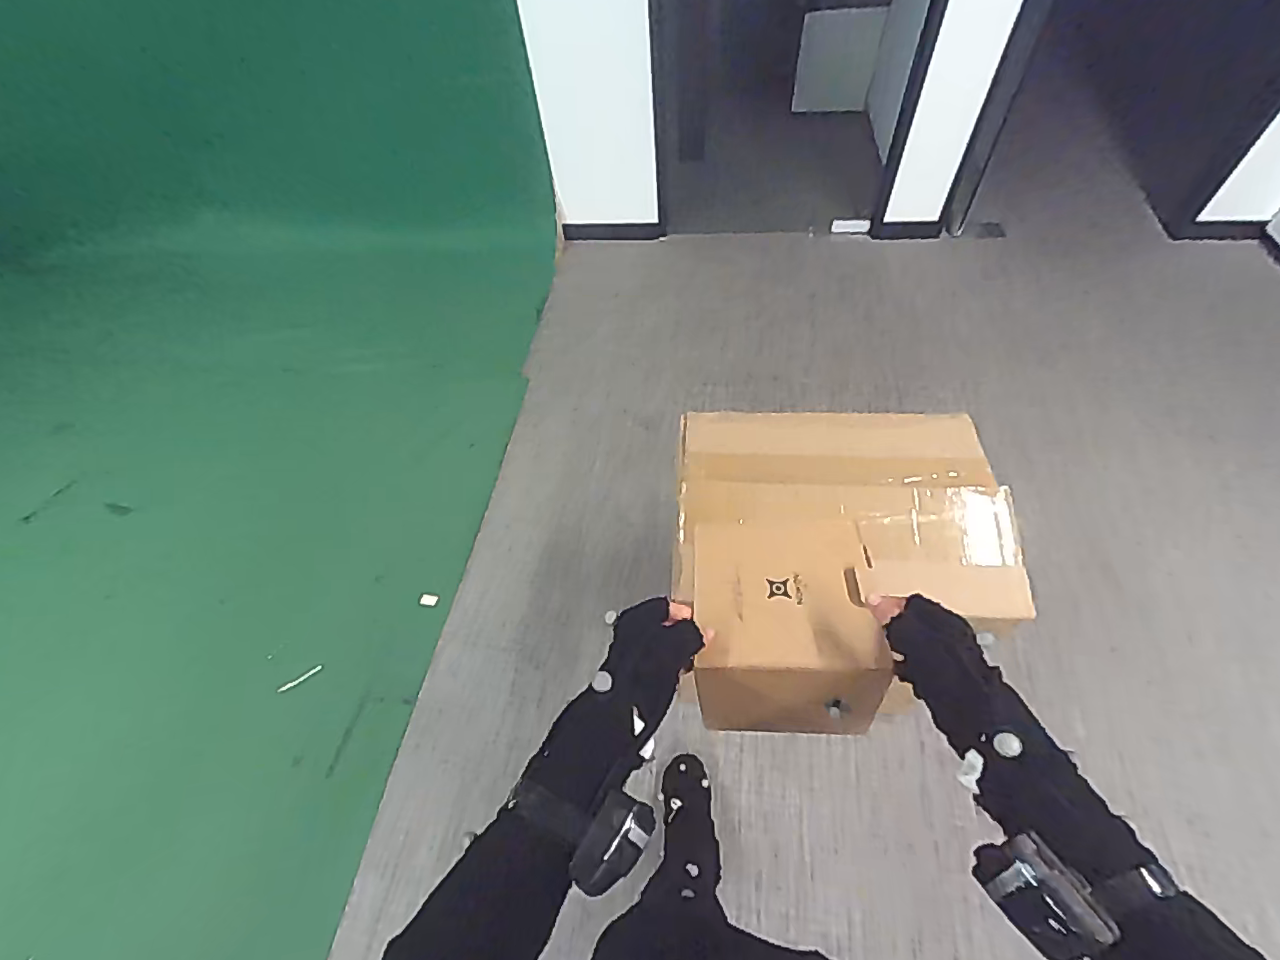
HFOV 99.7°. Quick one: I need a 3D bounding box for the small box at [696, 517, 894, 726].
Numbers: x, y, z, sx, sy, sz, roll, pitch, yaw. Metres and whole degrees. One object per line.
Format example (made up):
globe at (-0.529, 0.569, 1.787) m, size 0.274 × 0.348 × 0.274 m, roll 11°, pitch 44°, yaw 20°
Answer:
small box at (0.154, 0.157, 0.596) m, size 0.179 × 0.176 × 0.168 m, roll -3°, pitch 46°, yaw 9°
